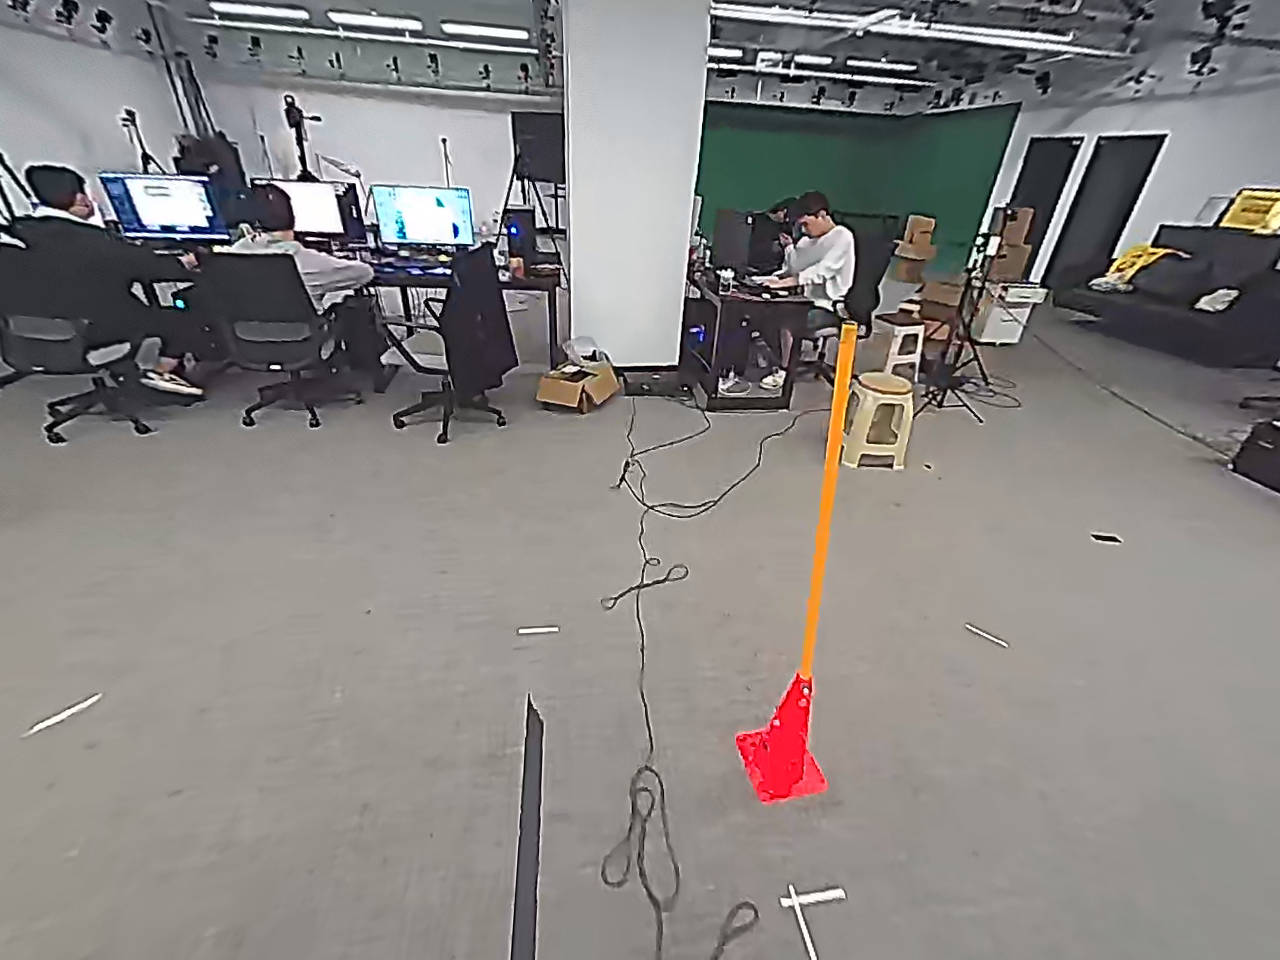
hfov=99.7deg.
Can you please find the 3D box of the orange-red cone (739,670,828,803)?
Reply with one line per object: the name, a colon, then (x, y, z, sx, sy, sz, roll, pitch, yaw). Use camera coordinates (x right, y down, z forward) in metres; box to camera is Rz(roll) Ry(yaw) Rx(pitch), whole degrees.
orange-red cone: (0.395, 0.629, 1.399, 0.199, 0.360, 0.198, -5, 30, -11)
